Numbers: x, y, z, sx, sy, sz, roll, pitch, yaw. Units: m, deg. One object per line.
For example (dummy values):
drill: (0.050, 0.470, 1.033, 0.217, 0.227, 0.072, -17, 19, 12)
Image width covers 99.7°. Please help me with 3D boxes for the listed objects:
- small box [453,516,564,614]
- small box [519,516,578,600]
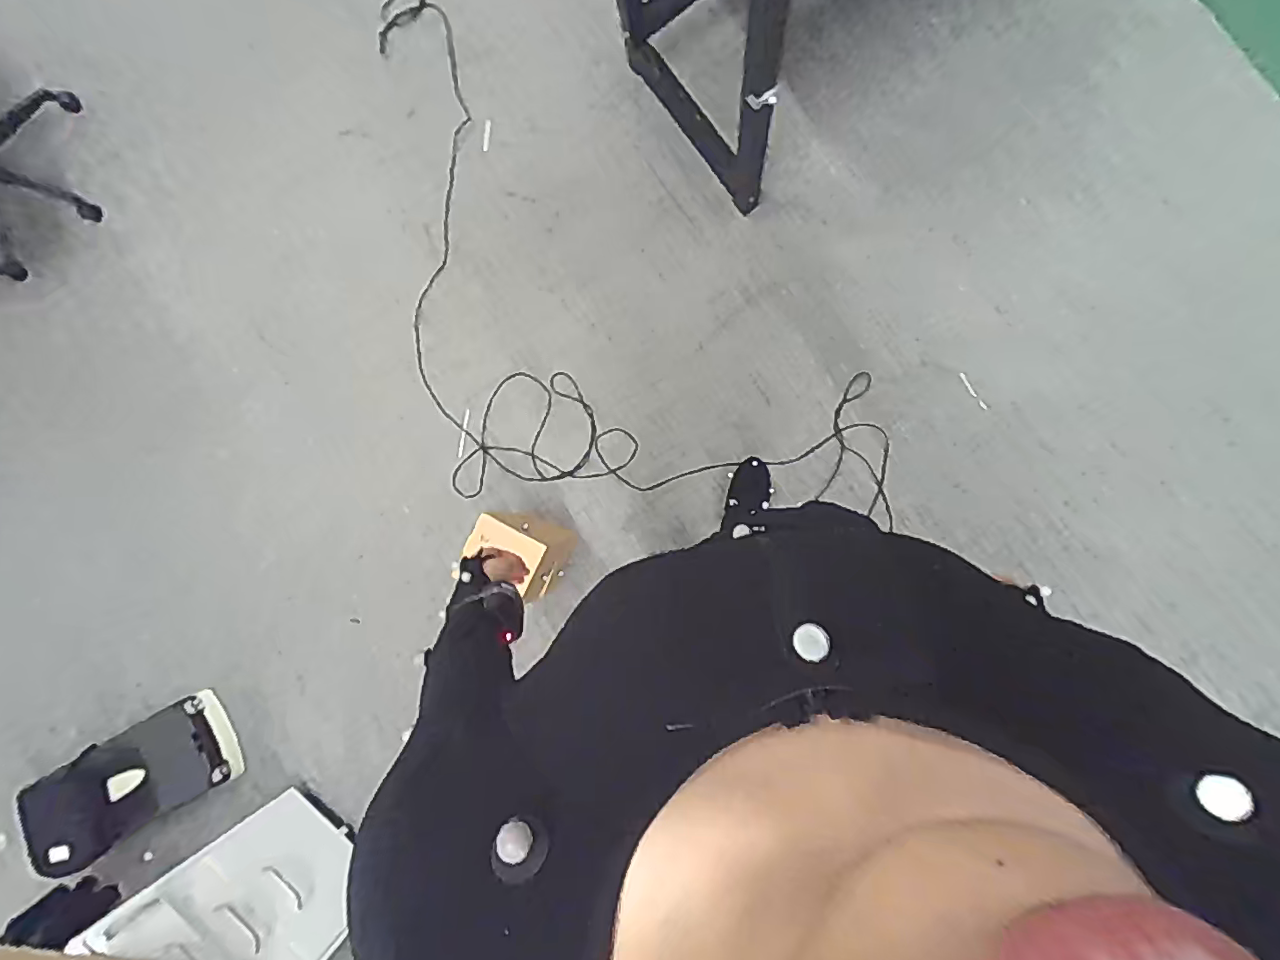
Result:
small box: (-0.305, 0.192, 1.292, 0.179, 0.176, 0.168, 26, 91, 7)
small box: (-0.284, 0.201, 1.456, 0.179, 0.176, 0.168, 21, 91, 7)
